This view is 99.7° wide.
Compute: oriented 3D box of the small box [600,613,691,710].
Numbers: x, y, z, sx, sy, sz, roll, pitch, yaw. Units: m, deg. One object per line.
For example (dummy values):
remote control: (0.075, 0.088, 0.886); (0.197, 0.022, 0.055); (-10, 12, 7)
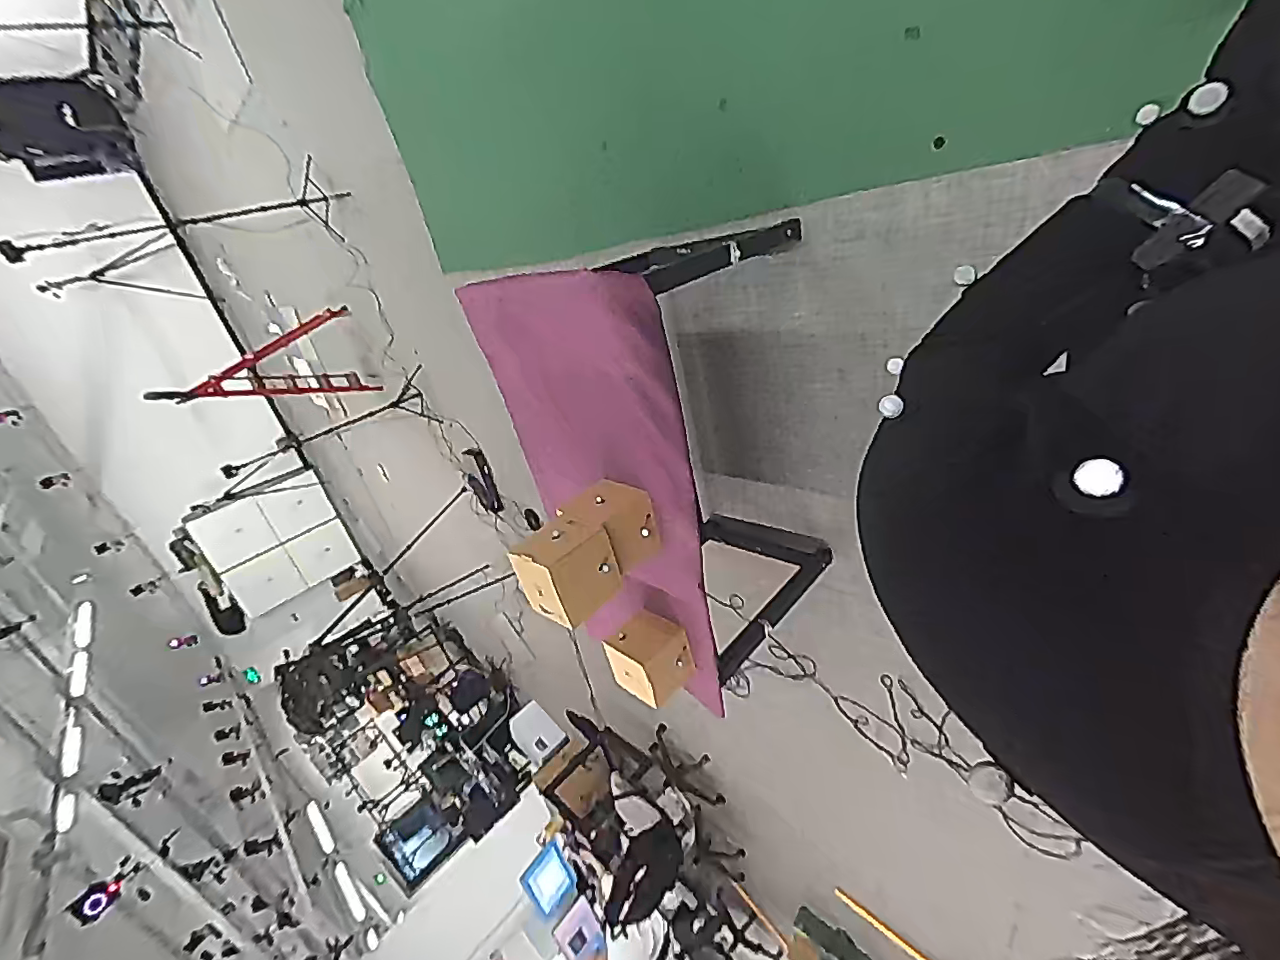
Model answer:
small box: (0.018, 0.504, 1.533); (0.179, 0.176, 0.168); (13, 127, 46)

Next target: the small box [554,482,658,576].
small box: (-0.081, 0.120, 1.355); (0.179, 0.176, 0.168); (15, 128, 44)

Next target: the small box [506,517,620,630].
small box: (-0.173, 0.205, 1.246); (0.168, 0.176, 0.179); (11, 125, 46)
